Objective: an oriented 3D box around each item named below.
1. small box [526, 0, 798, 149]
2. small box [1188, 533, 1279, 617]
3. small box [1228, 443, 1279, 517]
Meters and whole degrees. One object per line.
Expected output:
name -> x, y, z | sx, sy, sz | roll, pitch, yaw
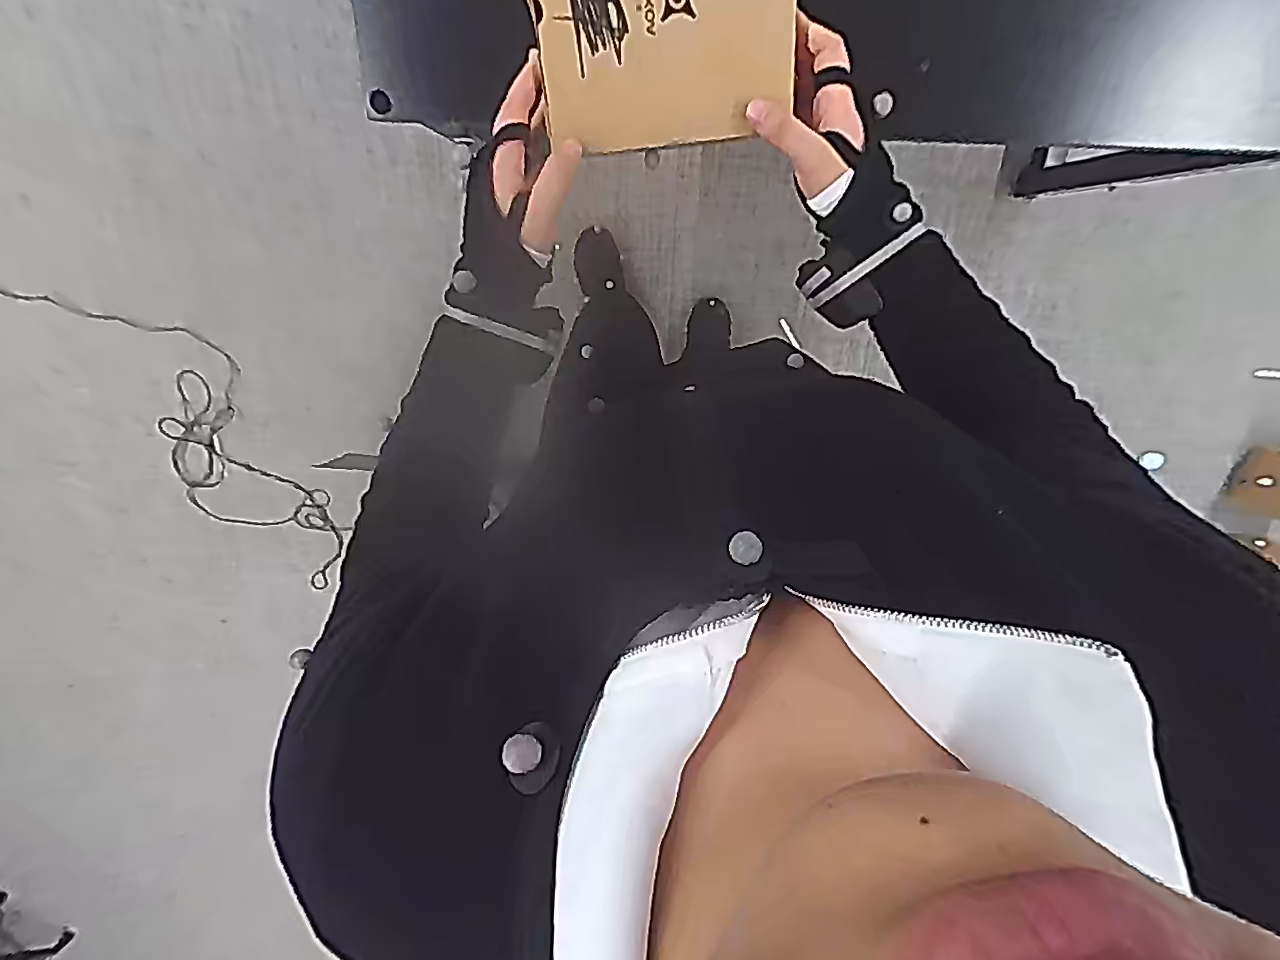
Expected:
small box -> 0.009, -0.354, 0.407 | 0.179, 0.176, 0.168 | -7, 121, -1
small box -> 1.739, 0.271, 1.539 | 0.168, 0.176, 0.179 | 2, 114, 0
small box -> 1.743, 0.008, 1.425 | 0.179, 0.176, 0.168 | 5, 113, 0
